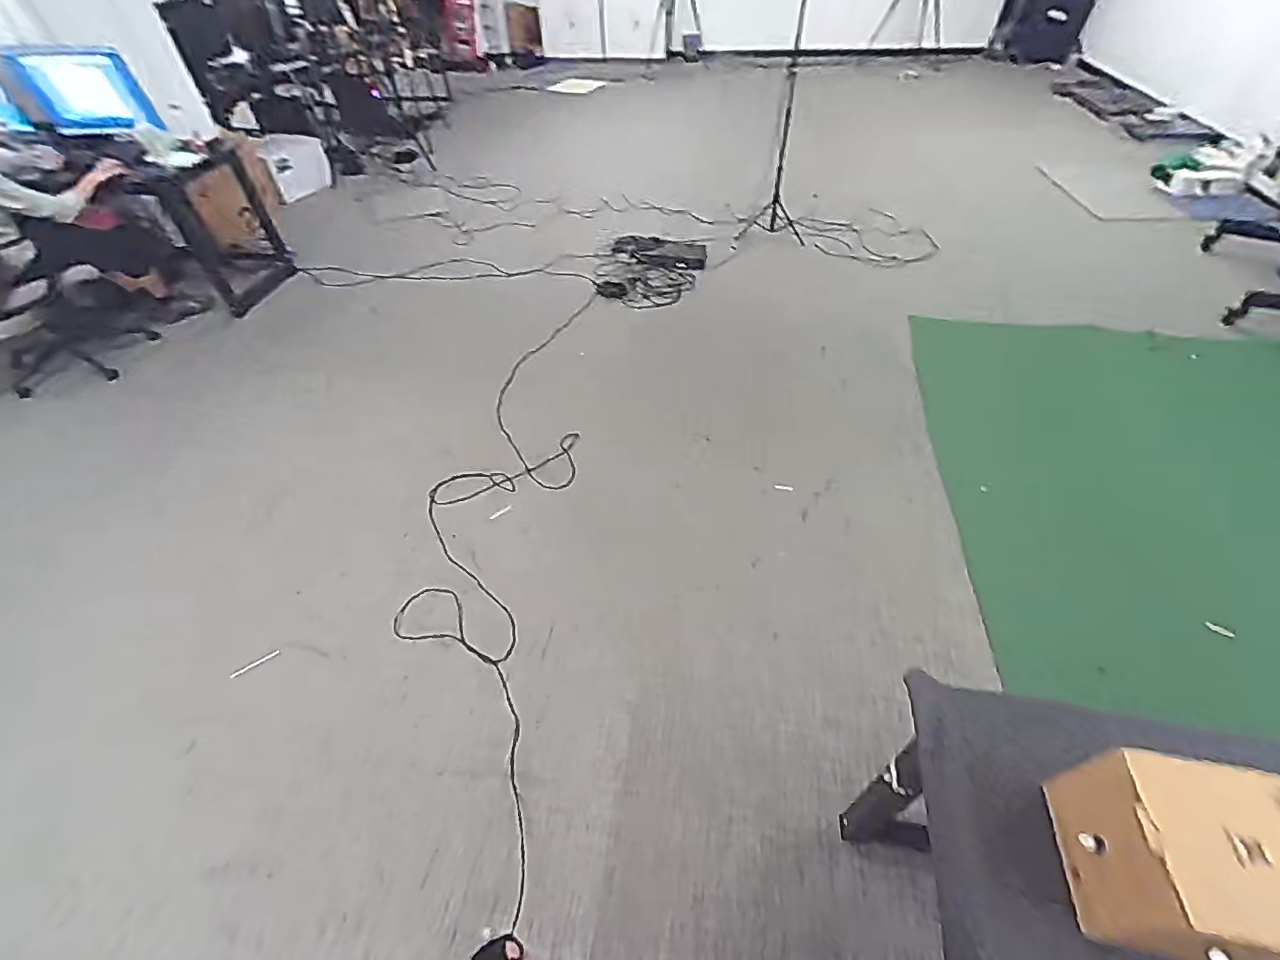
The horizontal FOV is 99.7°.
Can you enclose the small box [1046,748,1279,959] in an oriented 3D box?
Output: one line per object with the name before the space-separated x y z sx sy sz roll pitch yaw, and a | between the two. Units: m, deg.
small box | 0.608 0.433 0.619 0.179 0.176 0.168 8 49 8
